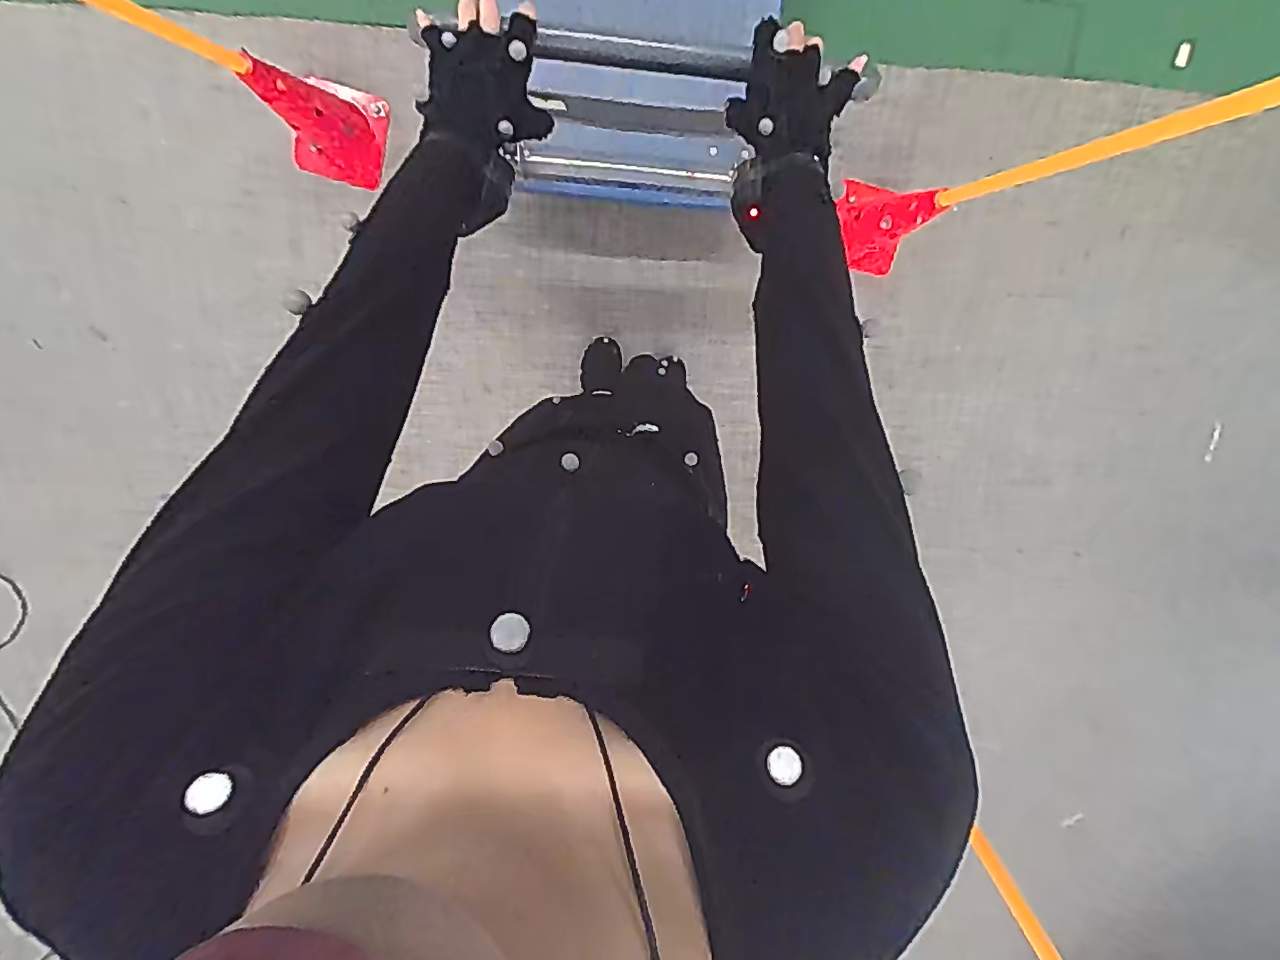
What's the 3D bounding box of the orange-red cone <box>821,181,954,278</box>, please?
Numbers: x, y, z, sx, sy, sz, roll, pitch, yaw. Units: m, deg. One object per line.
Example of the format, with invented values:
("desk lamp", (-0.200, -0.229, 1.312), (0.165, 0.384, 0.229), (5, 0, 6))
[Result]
("orange-red cone", (0.583, -0.587, 1.211), (0.198, 0.360, 0.199), (13, 105, -6))
